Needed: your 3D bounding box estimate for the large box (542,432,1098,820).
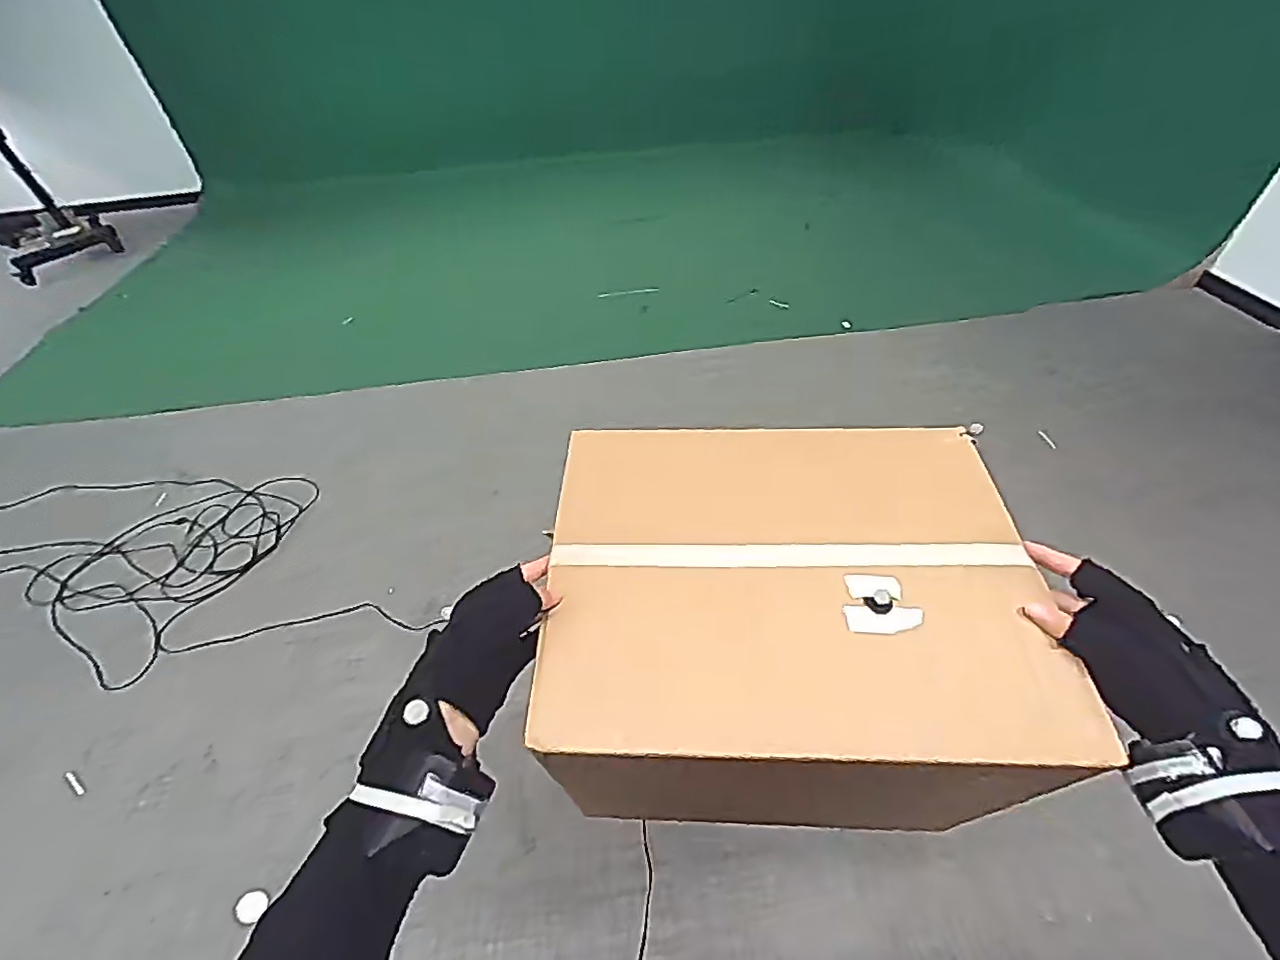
[{"bbox_3d":[0.132,0.168,0.593,0.408,0.320,0.320,-1,51,3],"label":"large box"}]
